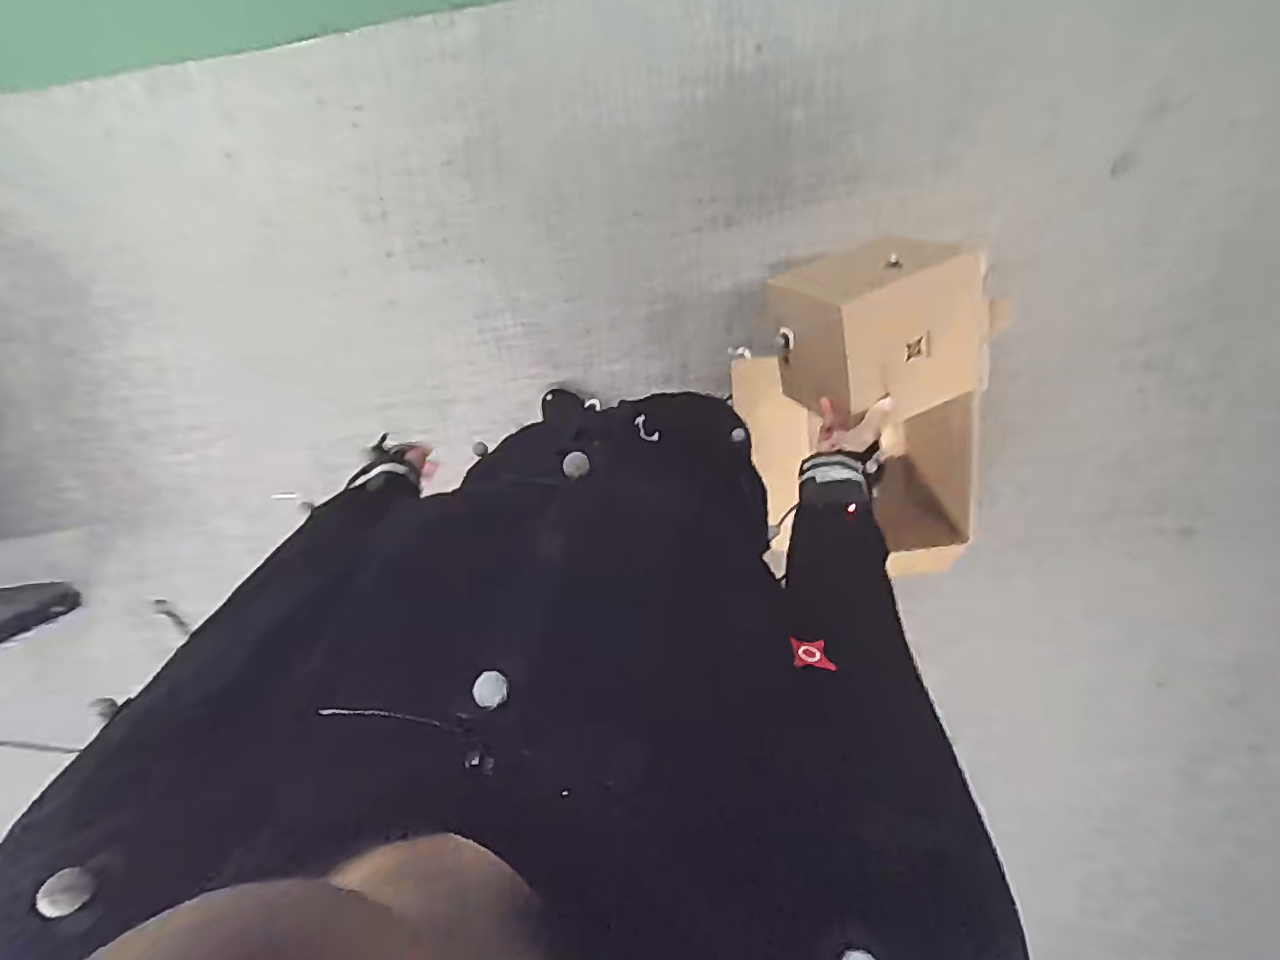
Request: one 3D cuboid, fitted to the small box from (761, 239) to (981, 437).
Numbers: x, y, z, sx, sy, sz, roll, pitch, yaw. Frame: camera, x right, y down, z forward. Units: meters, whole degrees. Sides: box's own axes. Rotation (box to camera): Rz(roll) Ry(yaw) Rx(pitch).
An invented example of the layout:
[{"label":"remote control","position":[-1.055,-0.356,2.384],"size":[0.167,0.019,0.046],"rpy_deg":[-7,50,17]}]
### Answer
[{"label":"small box","position":[0.274,-0.183,0.663],"size":[0.179,0.176,0.168],"rpy_deg":[-23,121,-7]}]
